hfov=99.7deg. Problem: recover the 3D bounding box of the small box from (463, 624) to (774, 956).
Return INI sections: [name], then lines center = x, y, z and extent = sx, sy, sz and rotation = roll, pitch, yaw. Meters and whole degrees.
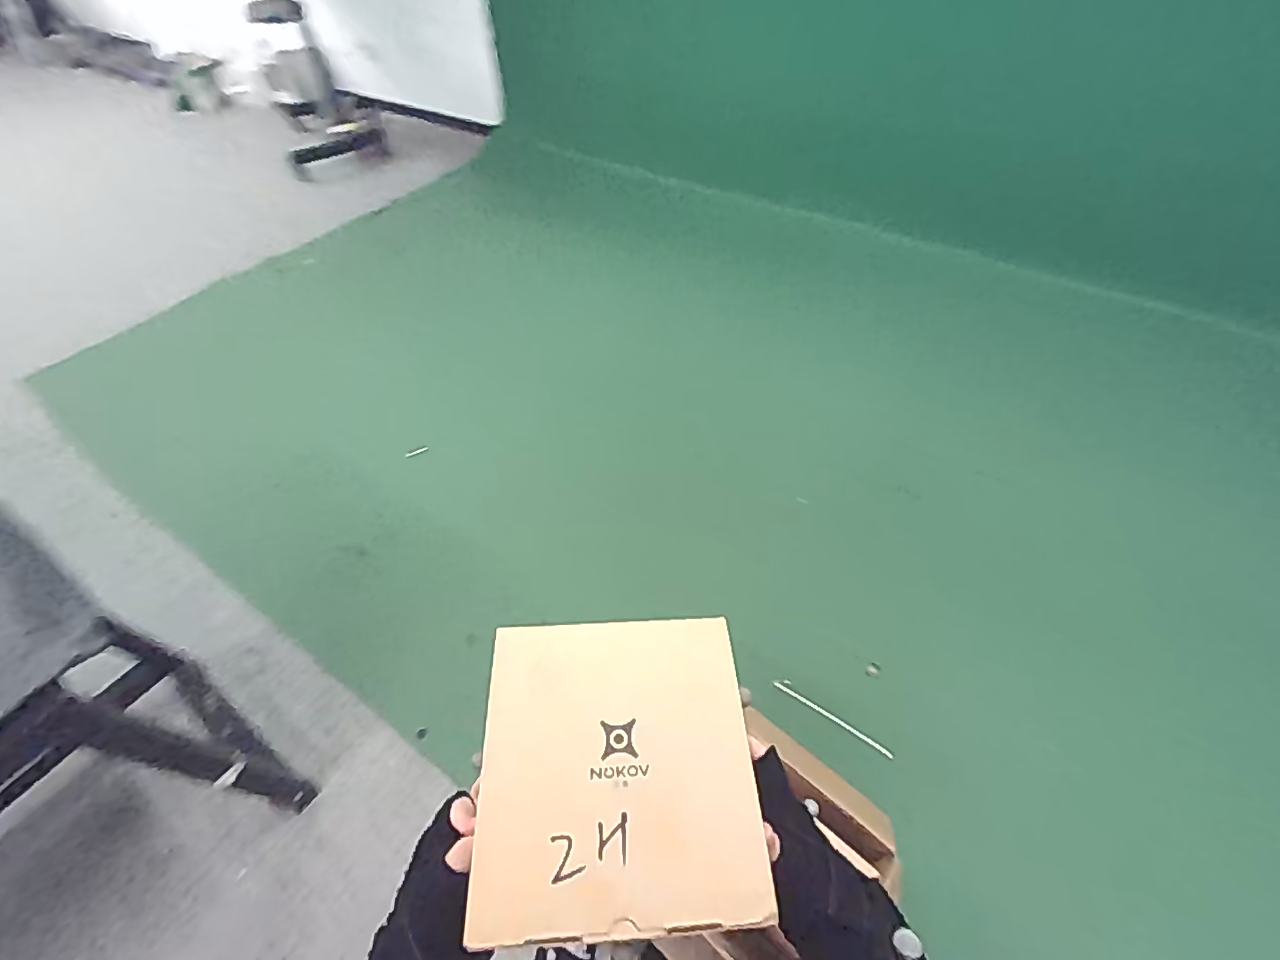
[small box]
center = -0.019, 0.225, 0.394
extent = 0.168, 0.176, 0.179
rotation = -2, 50, -4
